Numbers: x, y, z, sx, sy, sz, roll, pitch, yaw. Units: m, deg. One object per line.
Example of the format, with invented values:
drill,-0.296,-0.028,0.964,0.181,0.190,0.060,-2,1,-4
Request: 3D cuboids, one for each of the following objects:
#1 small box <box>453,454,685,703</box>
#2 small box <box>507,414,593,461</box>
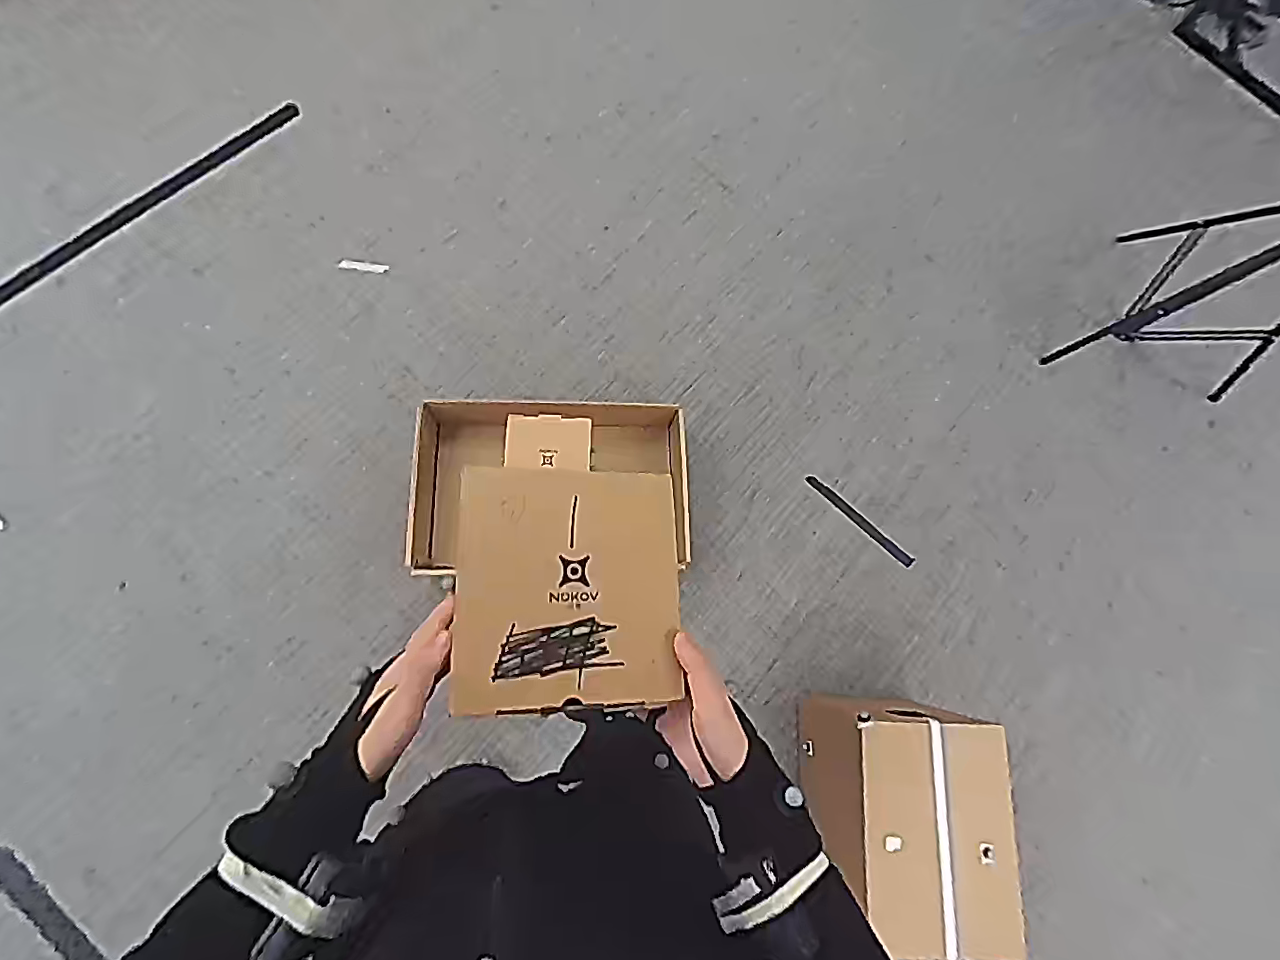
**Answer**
small box,-0.067,0.090,0.474,0.168,0.176,0.179,2,72,-15
small box,-0.184,-0.024,1.120,0.168,0.176,0.179,2,77,-6
